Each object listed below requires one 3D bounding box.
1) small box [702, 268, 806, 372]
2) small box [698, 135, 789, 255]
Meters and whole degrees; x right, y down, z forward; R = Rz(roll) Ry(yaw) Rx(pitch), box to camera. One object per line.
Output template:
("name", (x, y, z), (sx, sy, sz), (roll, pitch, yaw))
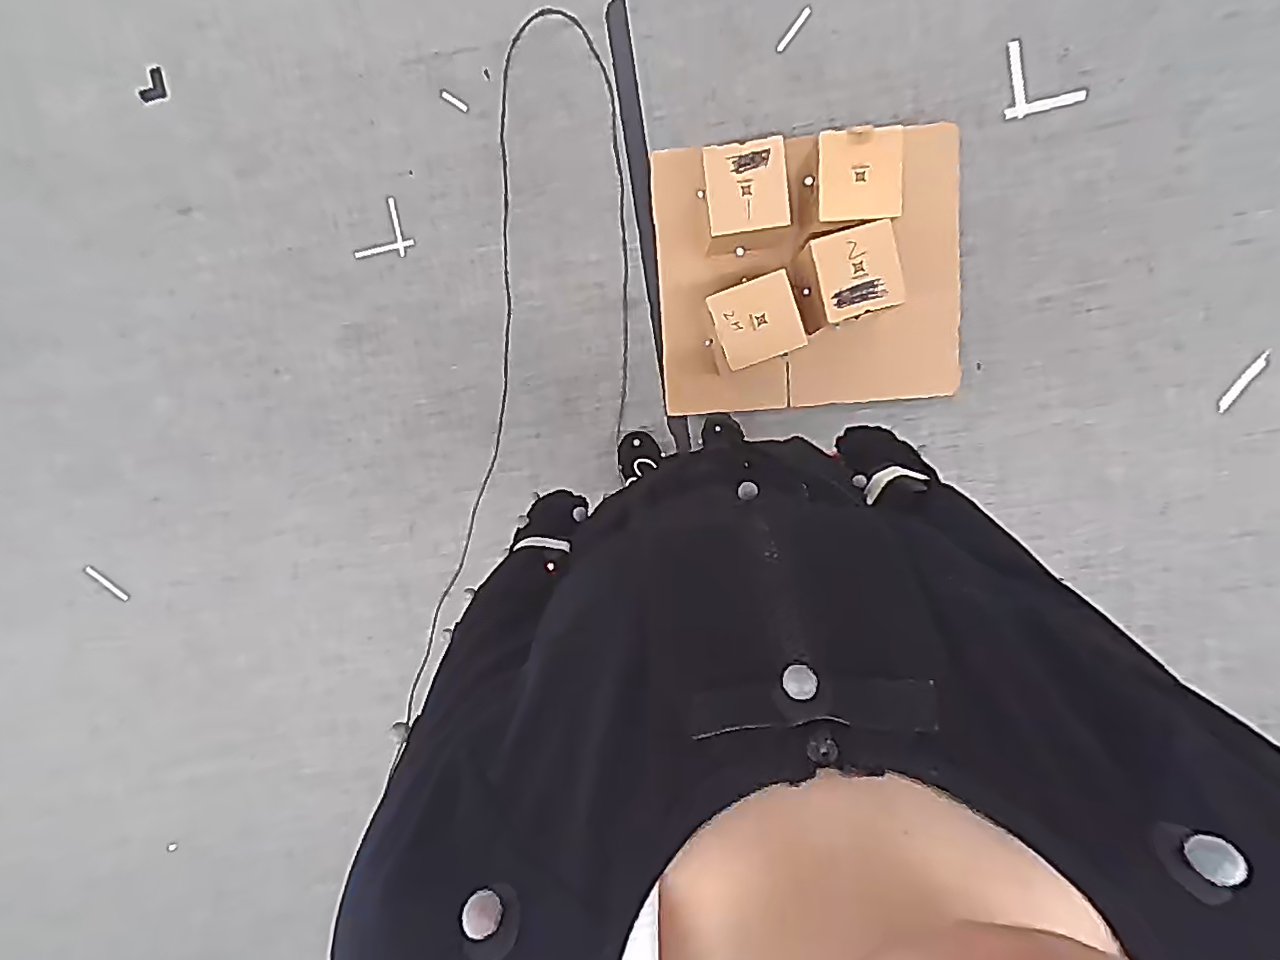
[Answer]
("small box", (0.248, -0.350, 1.215), (0.179, 0.176, 0.168), (-19, 95, 5))
("small box", (0.220, -0.614, 1.182), (0.168, 0.176, 0.179), (-7, 98, 3))
